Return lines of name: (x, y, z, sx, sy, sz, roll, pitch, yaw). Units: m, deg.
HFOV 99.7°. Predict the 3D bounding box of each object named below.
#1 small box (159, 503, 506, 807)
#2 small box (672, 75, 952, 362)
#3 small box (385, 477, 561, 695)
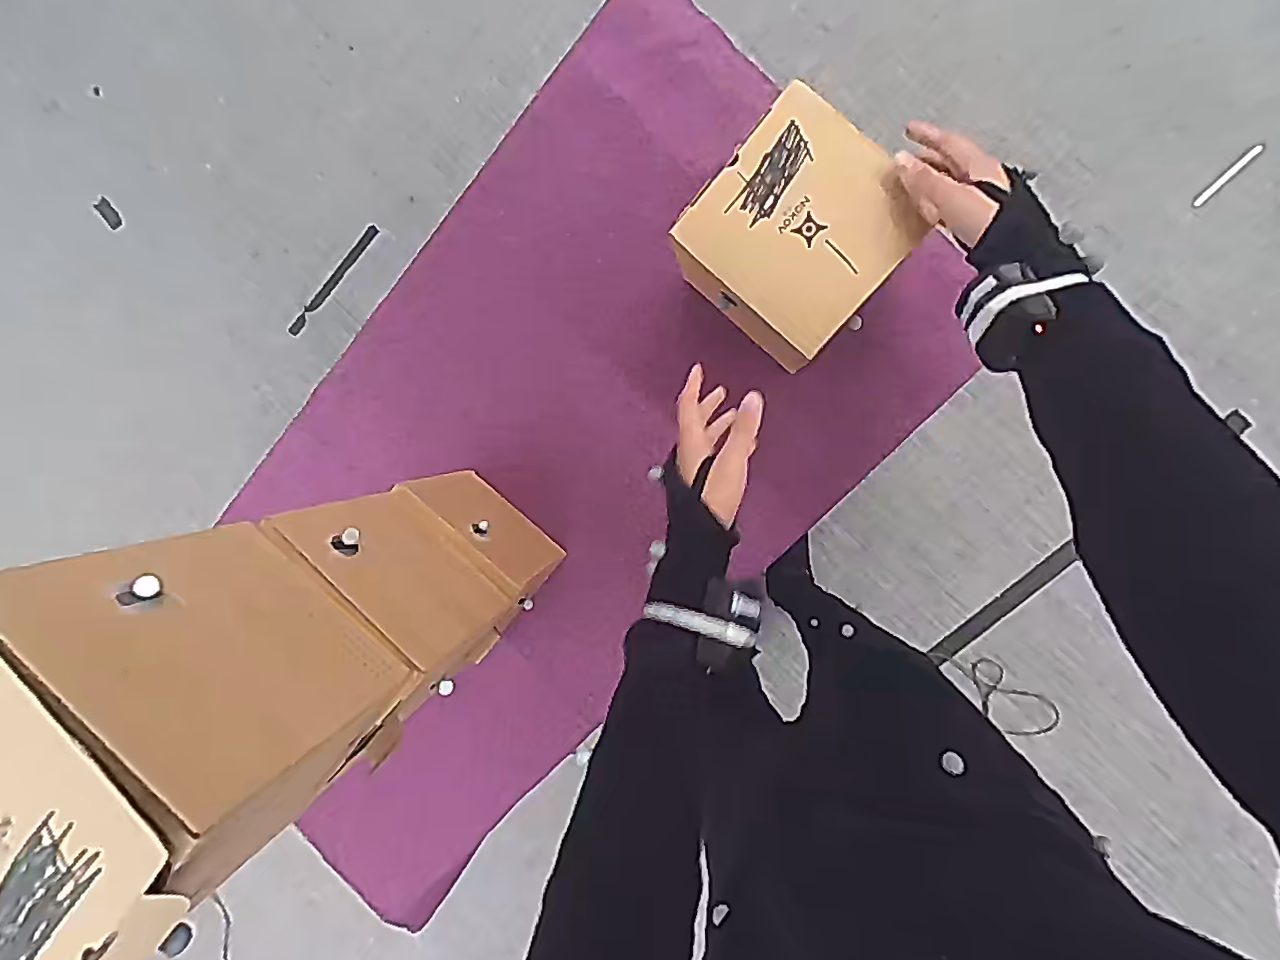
small box: (-0.260, 0.136, 0.494, 0.179, 0.176, 0.168, 43, 102, 3)
small box: (0.156, -0.234, 0.543, 0.179, 0.176, 0.168, 42, 102, 3)
small box: (-0.223, 0.111, 0.653, 0.179, 0.176, 0.168, 41, 101, 4)
